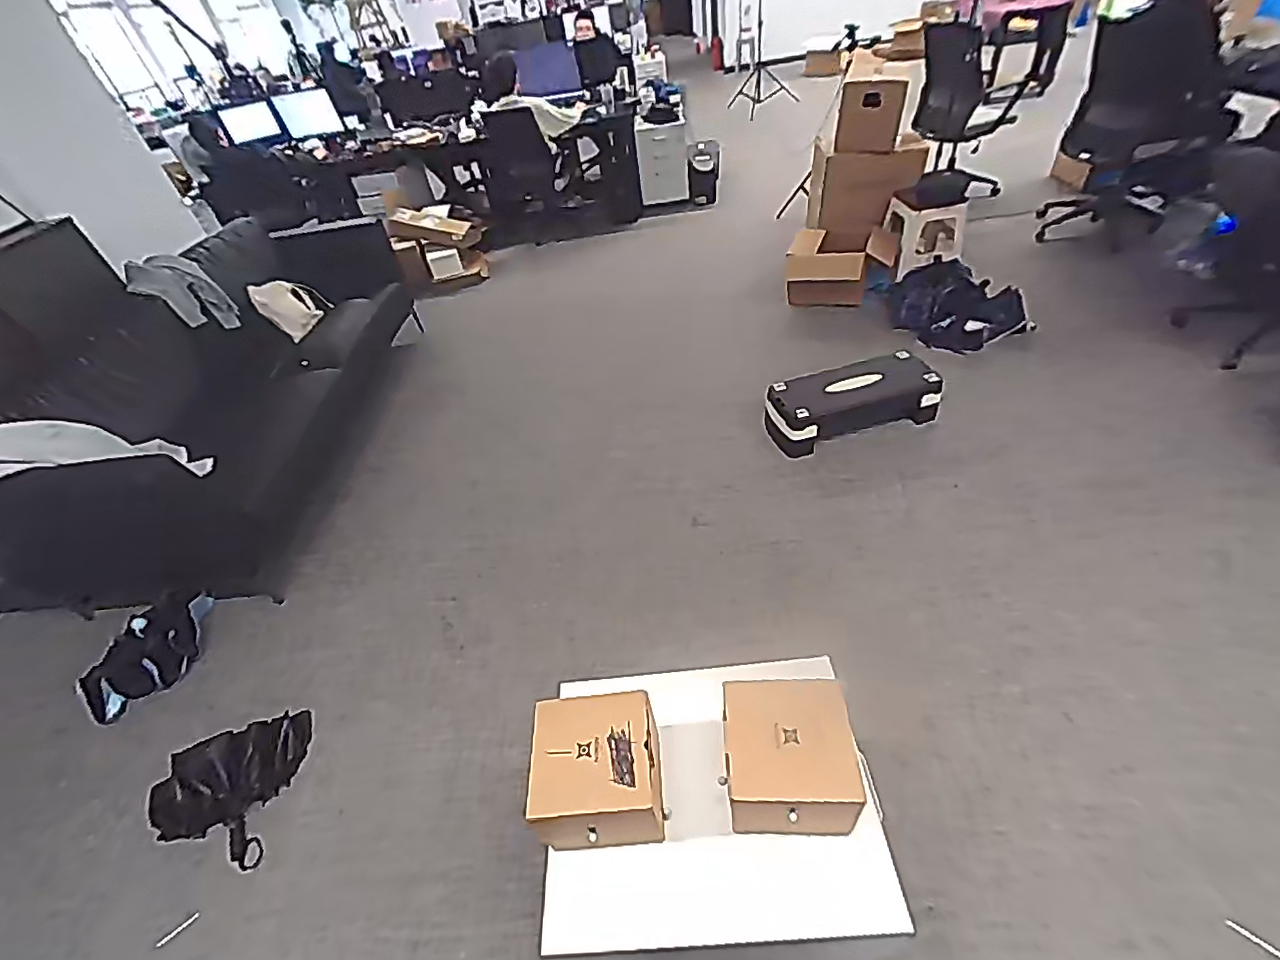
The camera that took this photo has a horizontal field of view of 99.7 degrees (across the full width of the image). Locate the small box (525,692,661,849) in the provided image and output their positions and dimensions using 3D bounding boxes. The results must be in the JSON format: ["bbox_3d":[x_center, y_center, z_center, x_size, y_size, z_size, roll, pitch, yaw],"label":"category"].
[{"bbox_3d":[-0.062,0.448,0.833,0.179,0.176,0.168,-8,43,4],"label":"small box"}]

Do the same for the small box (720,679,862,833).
[{"bbox_3d":[0.216,0.416,0.813,0.179,0.176,0.168,-4,45,7],"label":"small box"}]
